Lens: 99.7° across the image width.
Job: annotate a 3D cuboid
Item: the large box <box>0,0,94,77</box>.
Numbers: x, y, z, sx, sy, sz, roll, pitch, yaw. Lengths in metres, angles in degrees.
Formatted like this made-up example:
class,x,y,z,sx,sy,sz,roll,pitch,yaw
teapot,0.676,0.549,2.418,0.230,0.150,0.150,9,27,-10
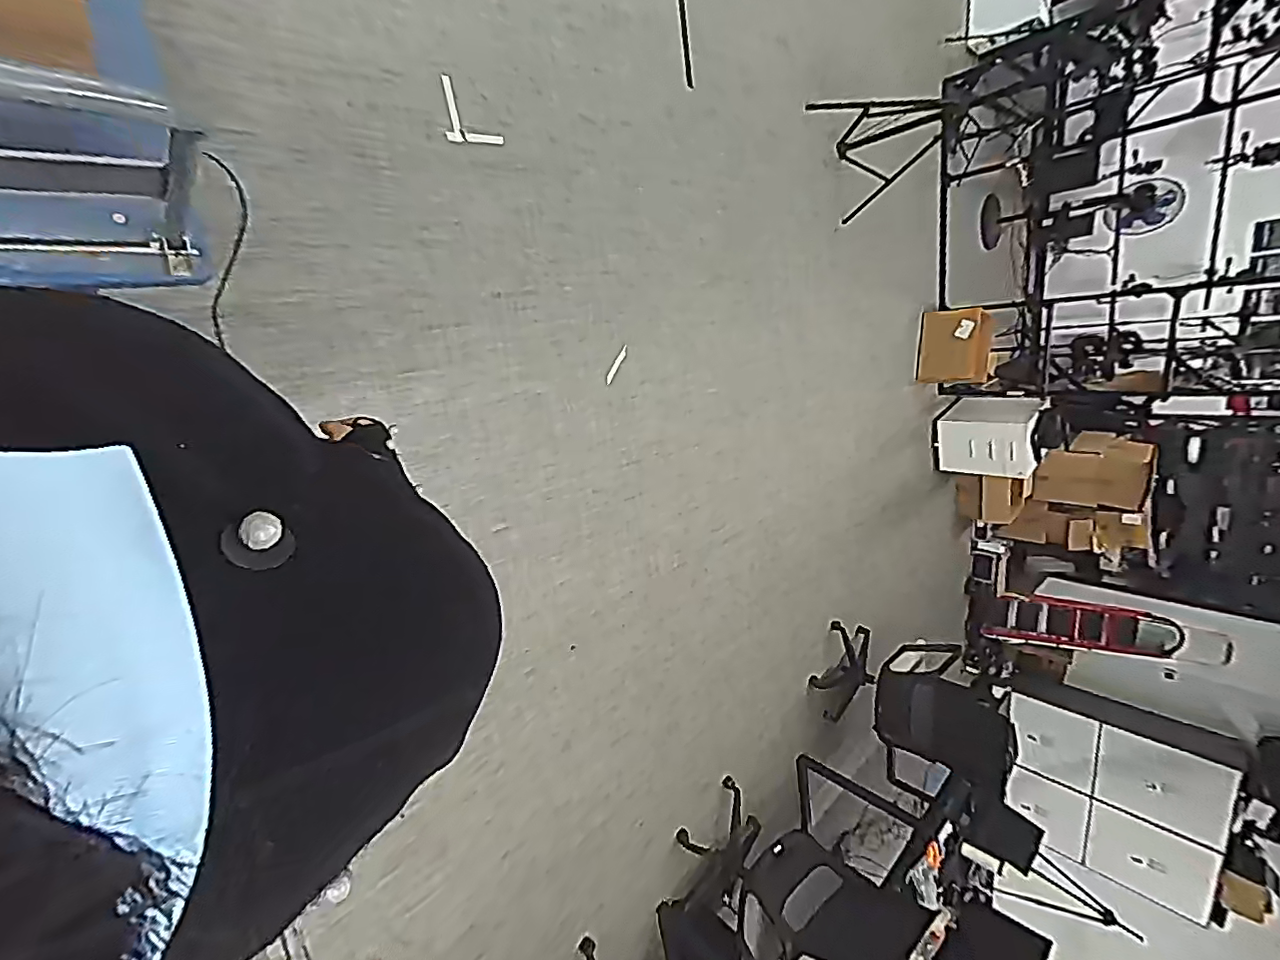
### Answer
class,x,y,z,sx,sy,sz,roll,pitch,yaw
large box,-0.978,-0.755,0.639,0.408,0.320,0.320,-15,106,-39
